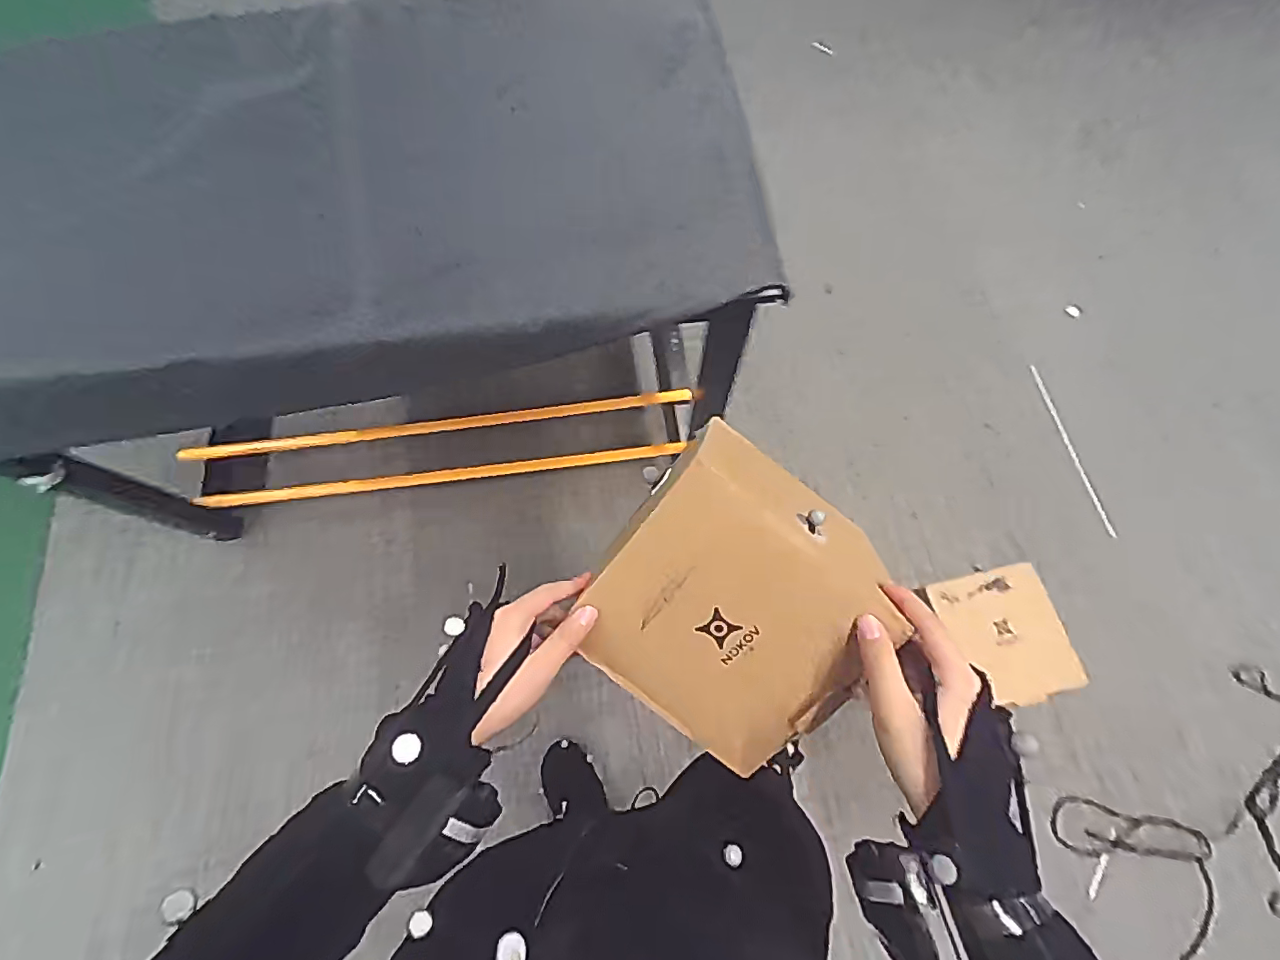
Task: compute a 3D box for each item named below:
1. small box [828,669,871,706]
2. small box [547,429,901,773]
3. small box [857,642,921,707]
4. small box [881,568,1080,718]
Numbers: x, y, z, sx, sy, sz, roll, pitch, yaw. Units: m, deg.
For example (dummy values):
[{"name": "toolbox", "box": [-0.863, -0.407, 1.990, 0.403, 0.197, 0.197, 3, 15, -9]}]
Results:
[{"name": "small box", "box": [0.480, 0.364, 1.131, 0.179, 0.176, 0.168, -13, 70, -5]}, {"name": "small box", "box": [0.062, 0.077, 0.432, 0.179, 0.176, 0.168, 37, 107, -1]}, {"name": "small box", "box": [0.493, 0.305, 0.977, 0.179, 0.176, 0.168, -12, 71, -6]}, {"name": "small box", "box": [0.498, 0.247, 0.825, 0.168, 0.176, 0.179, -12, 71, -5]}]
